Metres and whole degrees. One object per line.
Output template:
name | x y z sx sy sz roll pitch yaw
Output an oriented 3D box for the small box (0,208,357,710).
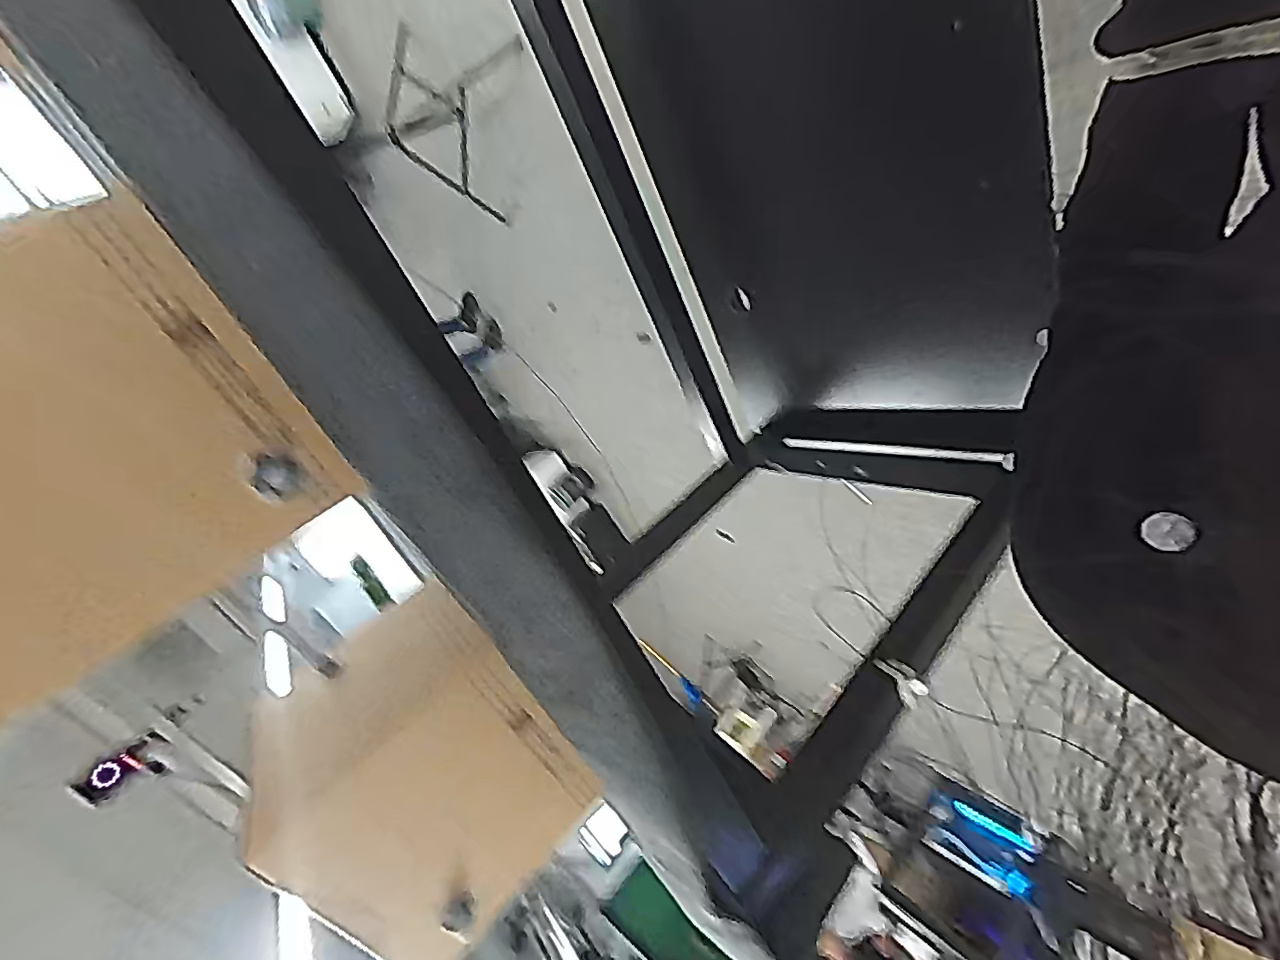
small box | -0.287 -0.023 0.299 0.179 0.176 0.168 16 139 56
